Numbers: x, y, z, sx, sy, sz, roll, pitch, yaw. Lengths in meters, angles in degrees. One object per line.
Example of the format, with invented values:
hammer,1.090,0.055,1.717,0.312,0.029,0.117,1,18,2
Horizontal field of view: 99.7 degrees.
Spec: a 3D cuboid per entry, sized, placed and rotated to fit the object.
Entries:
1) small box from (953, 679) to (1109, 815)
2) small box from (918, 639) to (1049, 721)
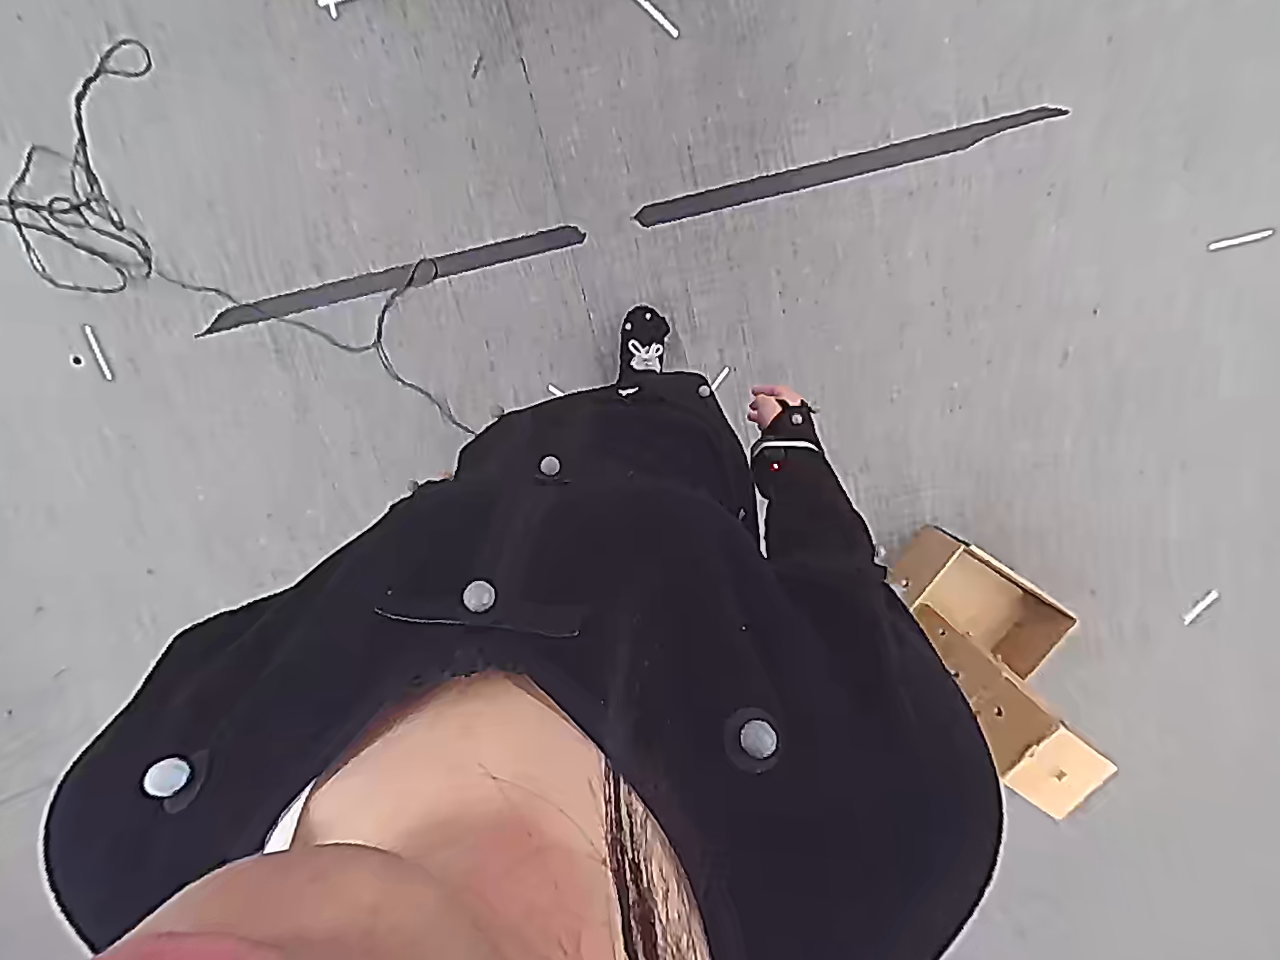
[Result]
small box,0.839,0.572,1.177,0.179,0.176,0.168,35,102,-9
small box,0.833,0.522,1.333,0.179,0.176,0.168,36,101,-9
